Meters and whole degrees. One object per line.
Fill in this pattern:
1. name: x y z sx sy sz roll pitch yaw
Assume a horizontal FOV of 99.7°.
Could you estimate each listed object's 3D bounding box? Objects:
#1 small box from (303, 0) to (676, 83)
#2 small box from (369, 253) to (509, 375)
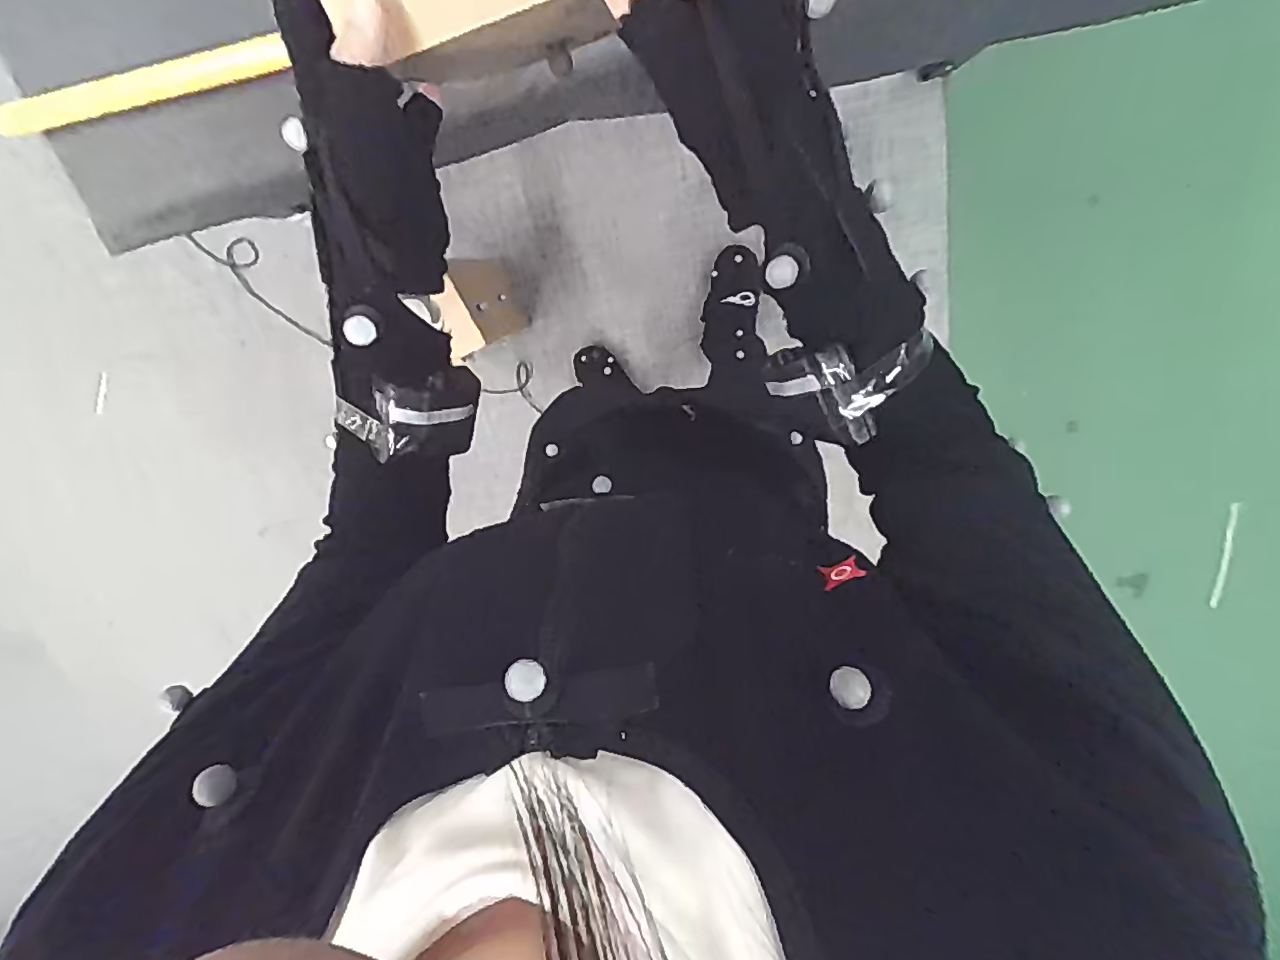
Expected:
1. small box: -0.076 -0.312 0.248 0.168 0.176 0.179 -11 124 11
2. small box: -0.397 -0.344 1.103 0.168 0.176 0.179 -24 109 17
